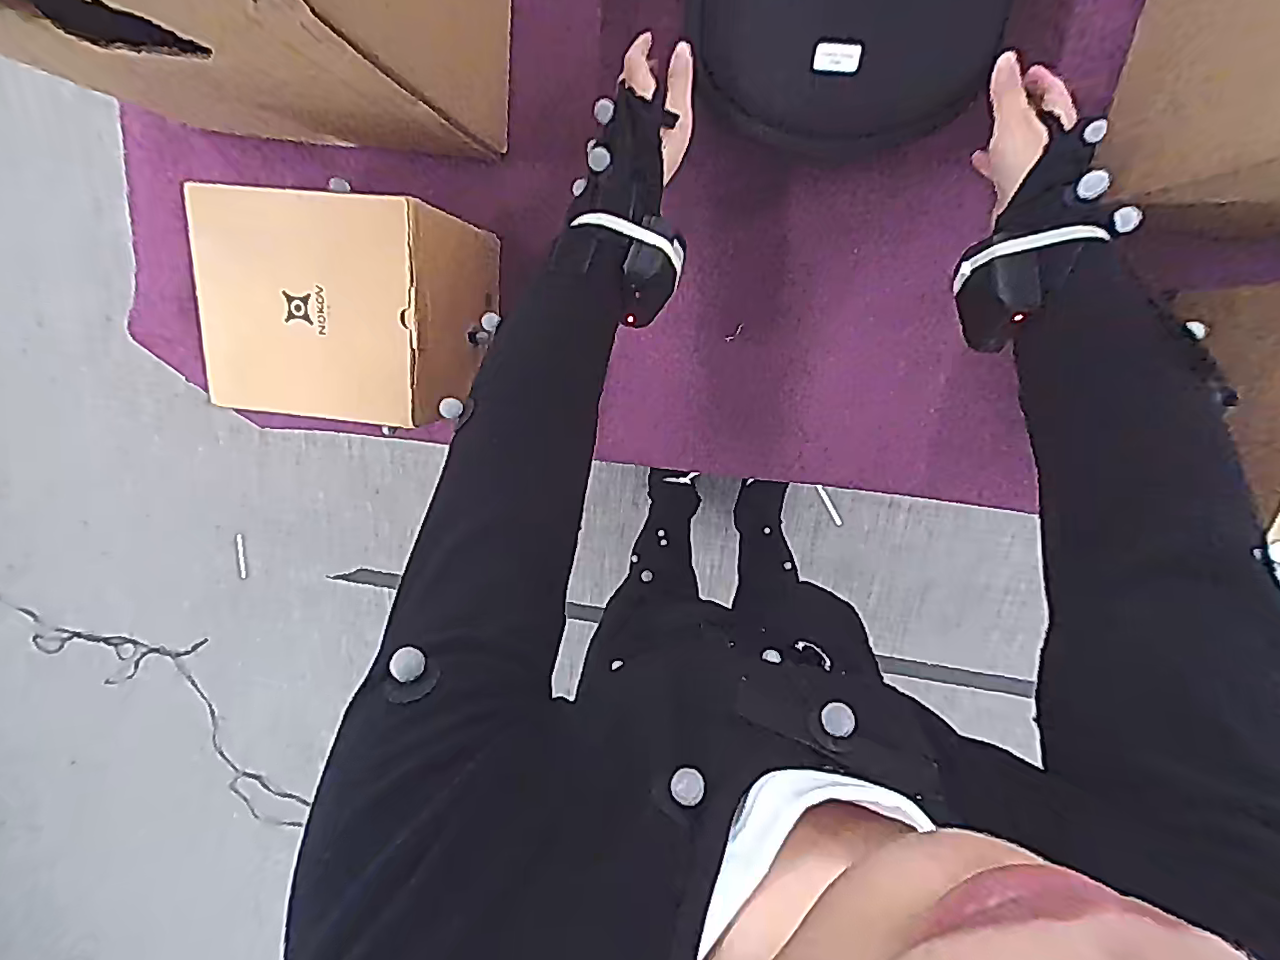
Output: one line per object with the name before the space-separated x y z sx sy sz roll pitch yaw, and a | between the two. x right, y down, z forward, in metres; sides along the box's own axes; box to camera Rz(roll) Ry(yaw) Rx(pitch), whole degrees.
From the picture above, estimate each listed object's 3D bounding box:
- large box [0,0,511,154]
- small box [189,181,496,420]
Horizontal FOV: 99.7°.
large box | -0.271 -0.470 0.327 0.320 0.320 0.408 7 110 4
small box | -0.248 -0.155 0.491 0.179 0.176 0.168 6 106 5
